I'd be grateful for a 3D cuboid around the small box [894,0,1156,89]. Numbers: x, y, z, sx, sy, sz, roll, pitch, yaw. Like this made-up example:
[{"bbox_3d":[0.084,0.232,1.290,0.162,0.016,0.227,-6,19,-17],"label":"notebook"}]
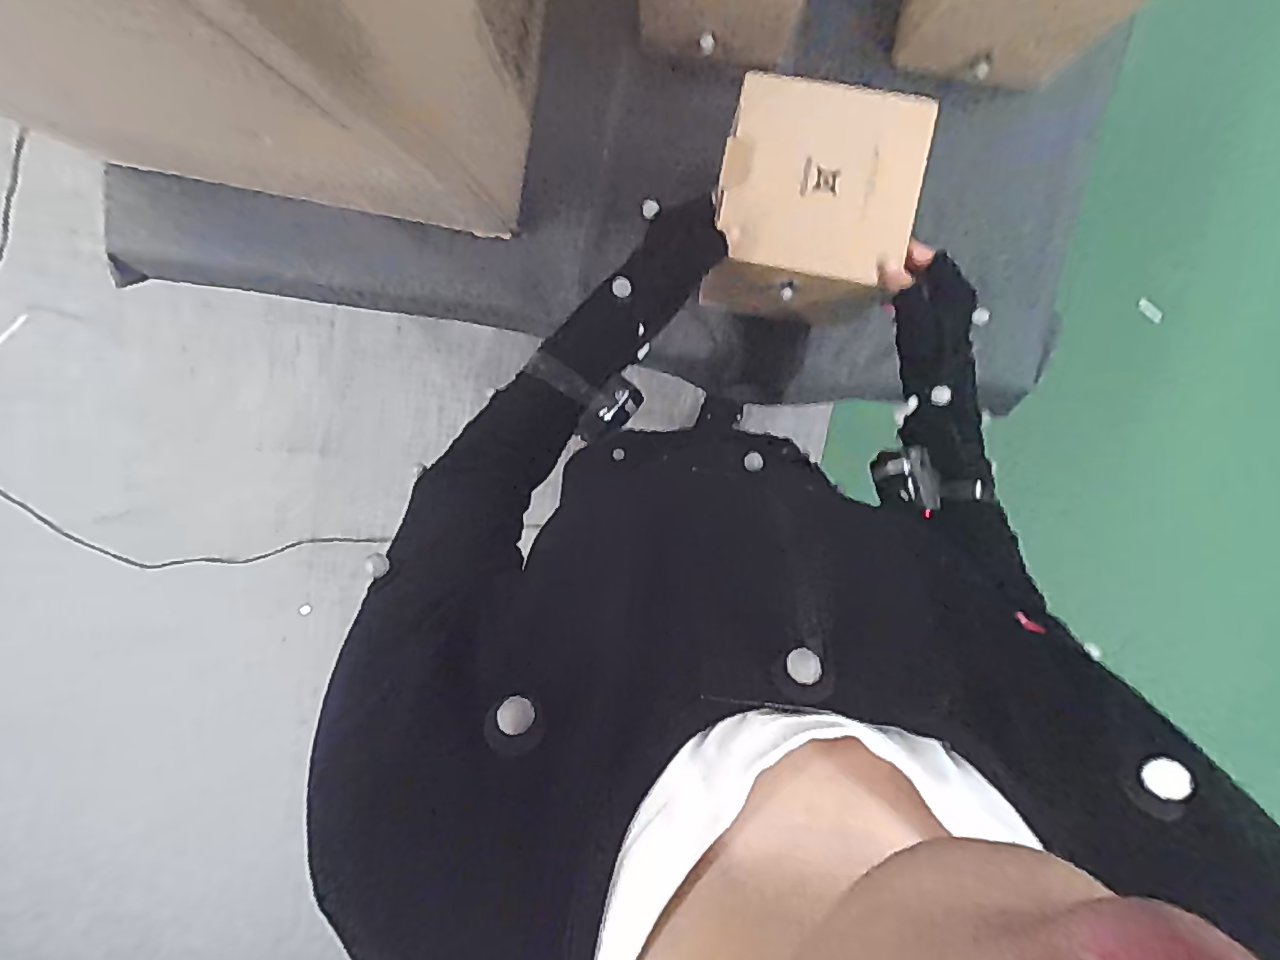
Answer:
[{"bbox_3d":[0.391,-0.531,0.541,0.179,0.176,0.168,10,99,1],"label":"small box"}]
